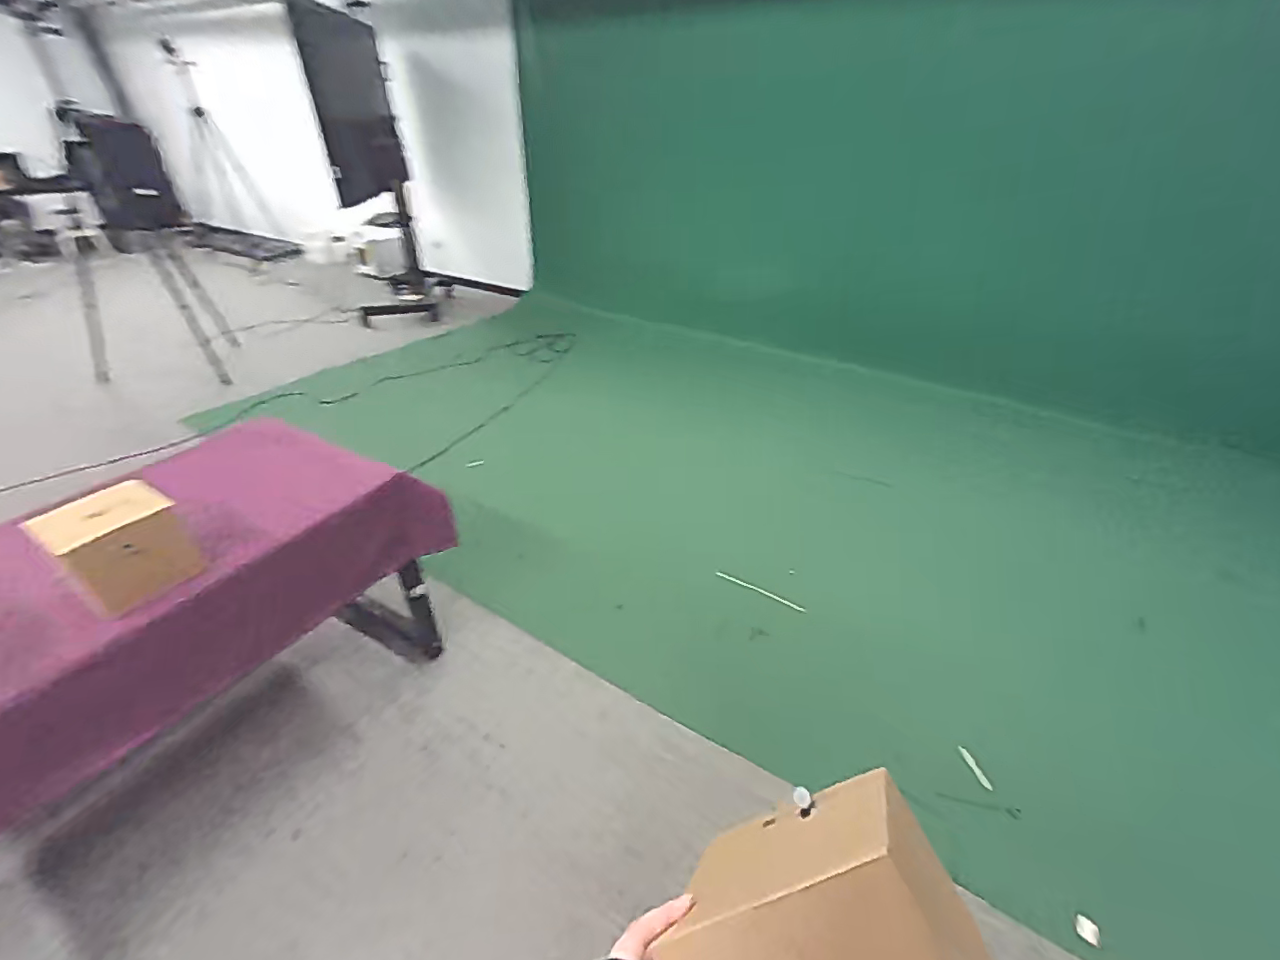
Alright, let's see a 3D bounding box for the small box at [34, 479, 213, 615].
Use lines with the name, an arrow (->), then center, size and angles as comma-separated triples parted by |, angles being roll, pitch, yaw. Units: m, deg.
small box -> -0.995, 0.130, 1.057 | 0.168, 0.176, 0.179 | 20, 39, 25
